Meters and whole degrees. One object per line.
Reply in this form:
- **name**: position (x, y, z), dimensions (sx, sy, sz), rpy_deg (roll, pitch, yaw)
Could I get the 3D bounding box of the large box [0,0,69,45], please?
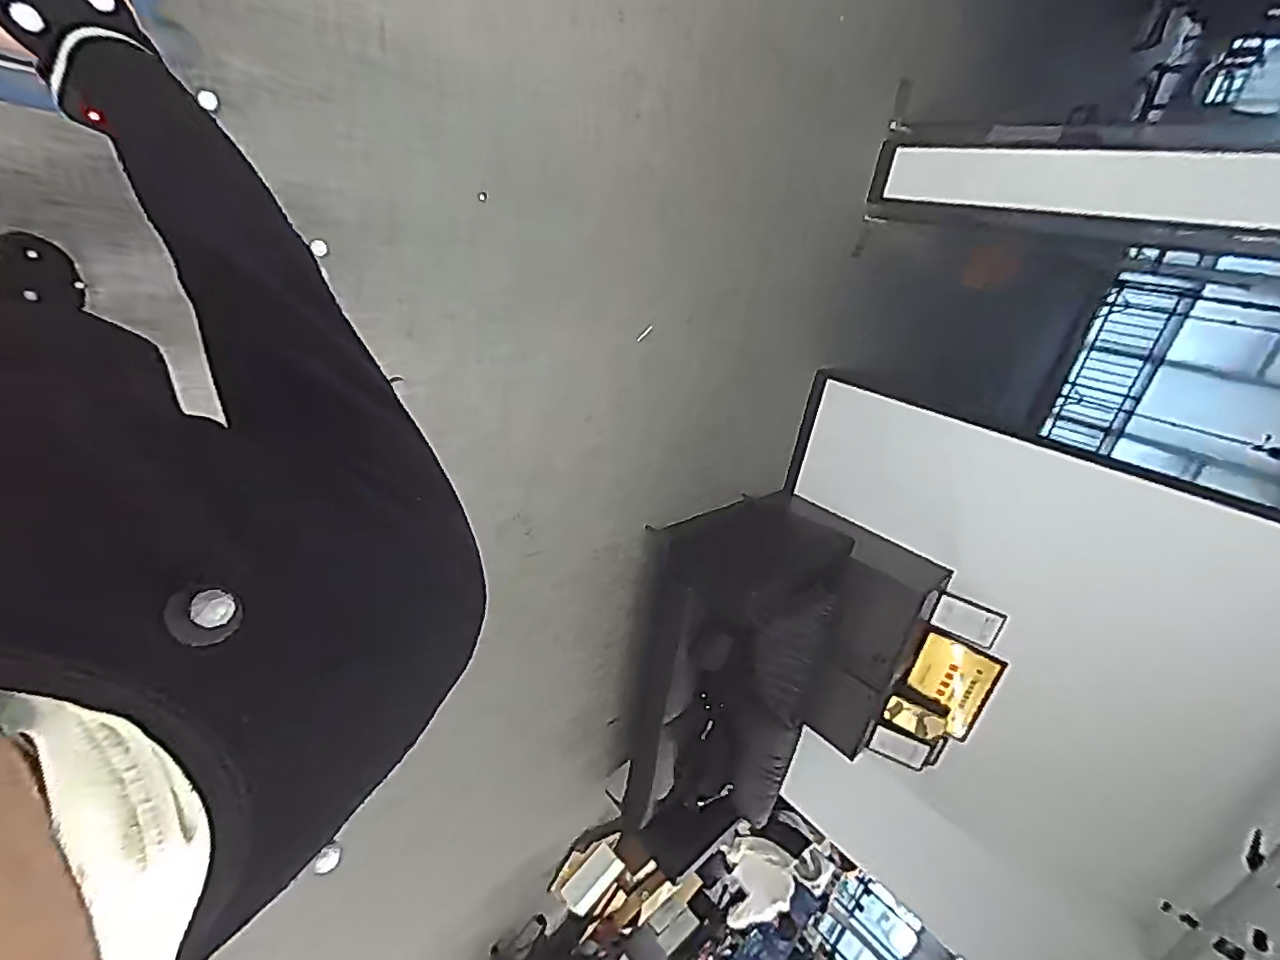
- **large box**: position (-0.897, -0.789, 0.594), dimensions (0.320, 0.320, 0.408), rpy_deg (-12, 121, -43)
